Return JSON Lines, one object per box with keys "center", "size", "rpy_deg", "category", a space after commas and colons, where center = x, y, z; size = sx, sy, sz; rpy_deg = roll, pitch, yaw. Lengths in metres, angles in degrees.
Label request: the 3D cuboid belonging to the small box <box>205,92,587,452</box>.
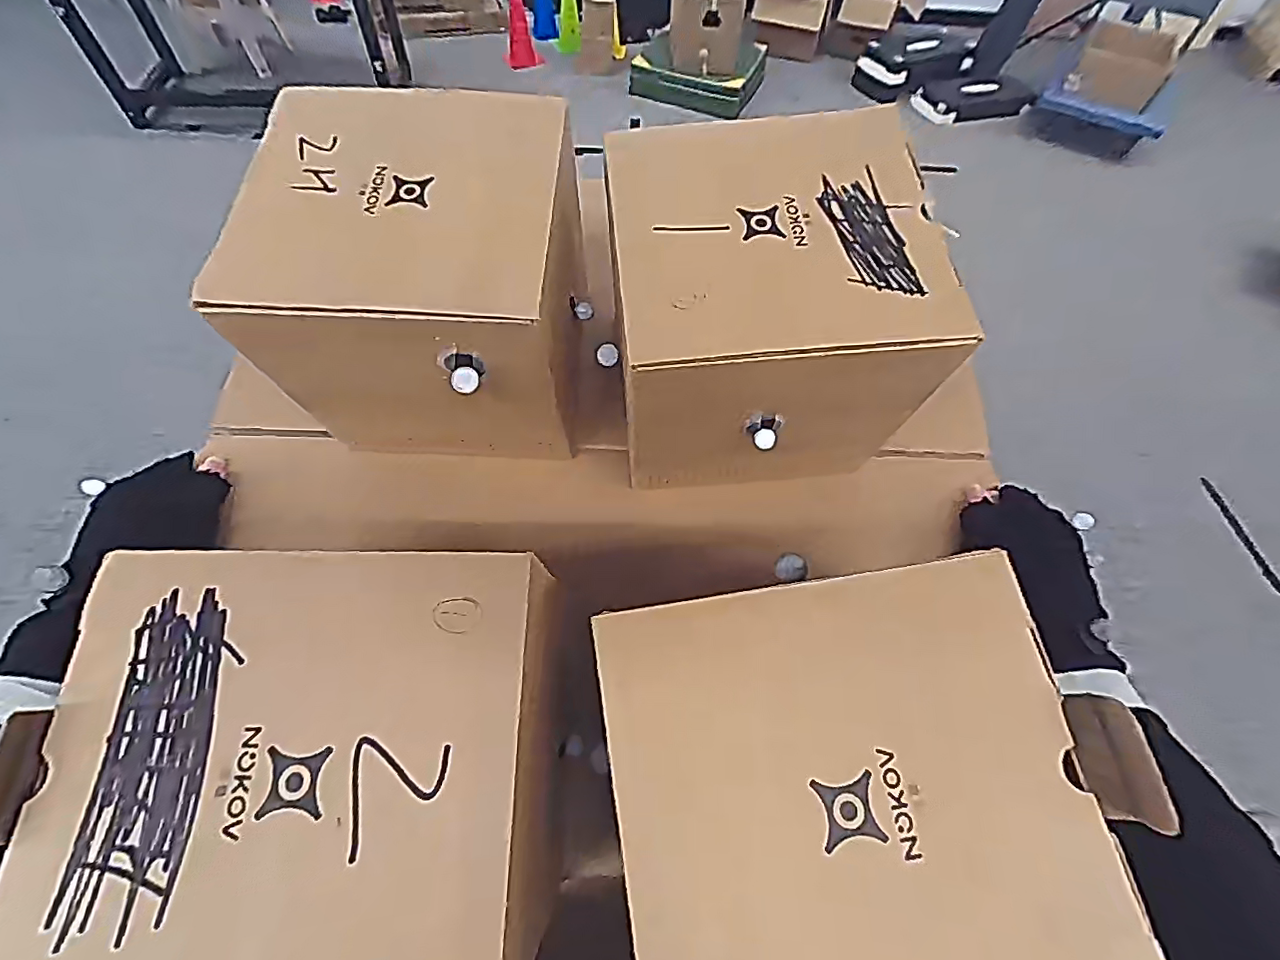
{"center": [-0.134, -0.129, 0.380], "size": [0.179, 0.176, 0.168], "rpy_deg": [3, 68, 1], "category": "small box"}
